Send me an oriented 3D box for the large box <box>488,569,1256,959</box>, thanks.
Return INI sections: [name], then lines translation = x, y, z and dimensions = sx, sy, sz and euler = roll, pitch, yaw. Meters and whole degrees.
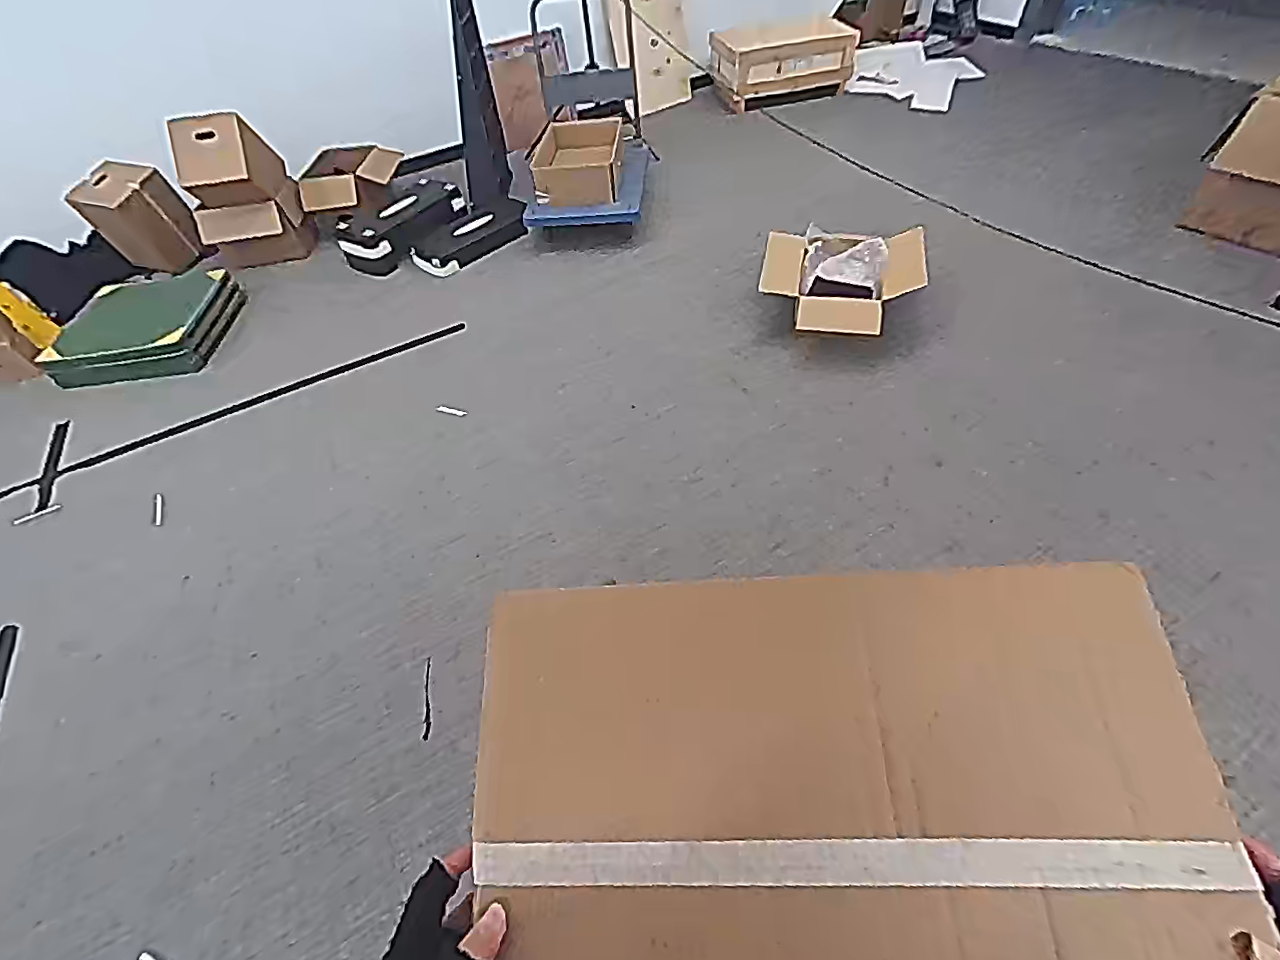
[large box]
translation = 0.125, 0.268, 0.443
dimensions = 0.408, 0.320, 0.320
euler = -4, 69, 6
